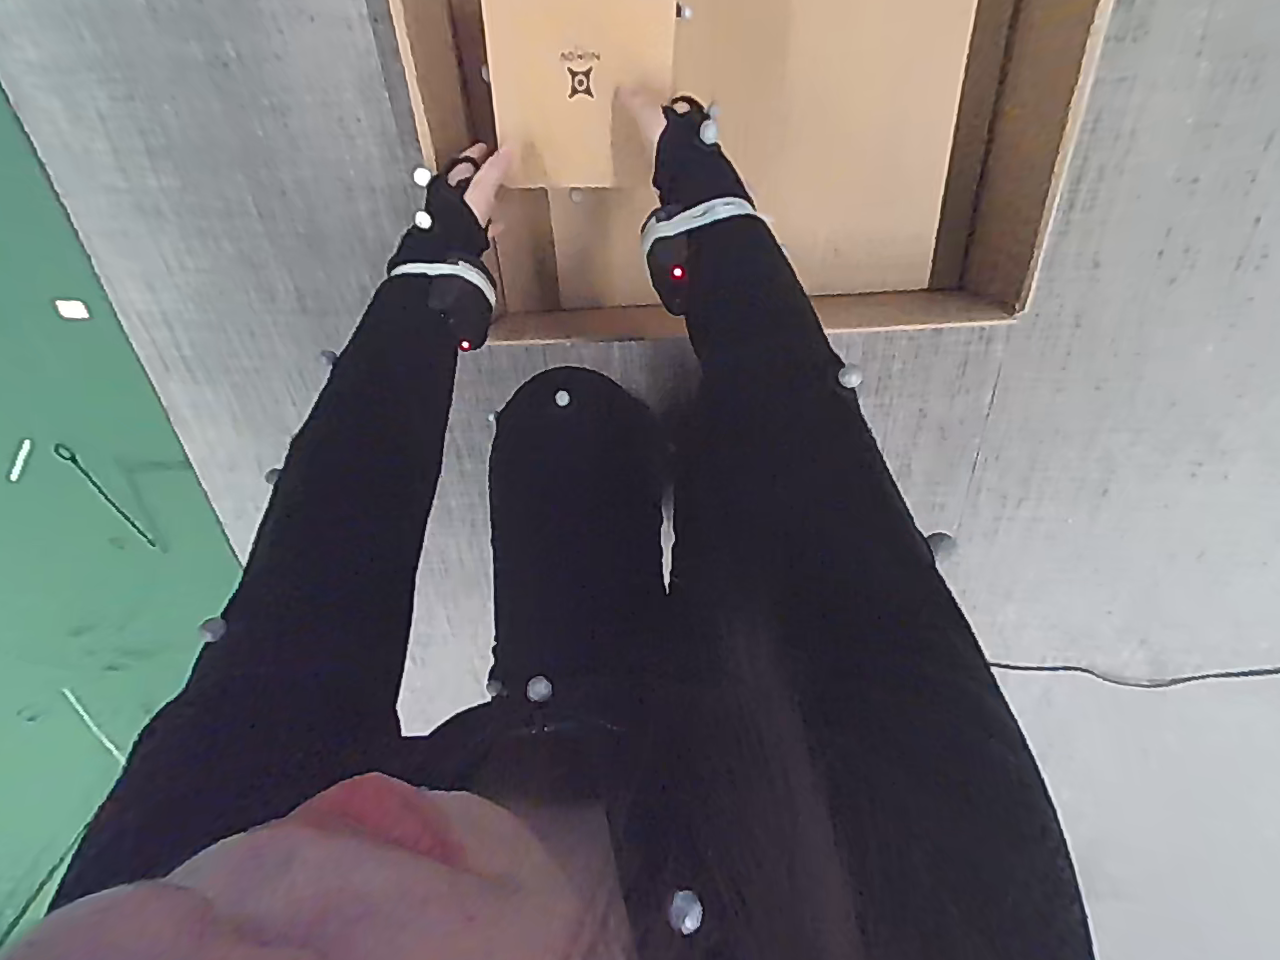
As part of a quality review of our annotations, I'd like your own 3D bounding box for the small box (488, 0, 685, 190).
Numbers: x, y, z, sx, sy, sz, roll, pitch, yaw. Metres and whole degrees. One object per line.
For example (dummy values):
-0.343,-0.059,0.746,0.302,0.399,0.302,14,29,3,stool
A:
-0.040,-0.400,0.547,0.168,0.176,0.179,2,121,4,small box
